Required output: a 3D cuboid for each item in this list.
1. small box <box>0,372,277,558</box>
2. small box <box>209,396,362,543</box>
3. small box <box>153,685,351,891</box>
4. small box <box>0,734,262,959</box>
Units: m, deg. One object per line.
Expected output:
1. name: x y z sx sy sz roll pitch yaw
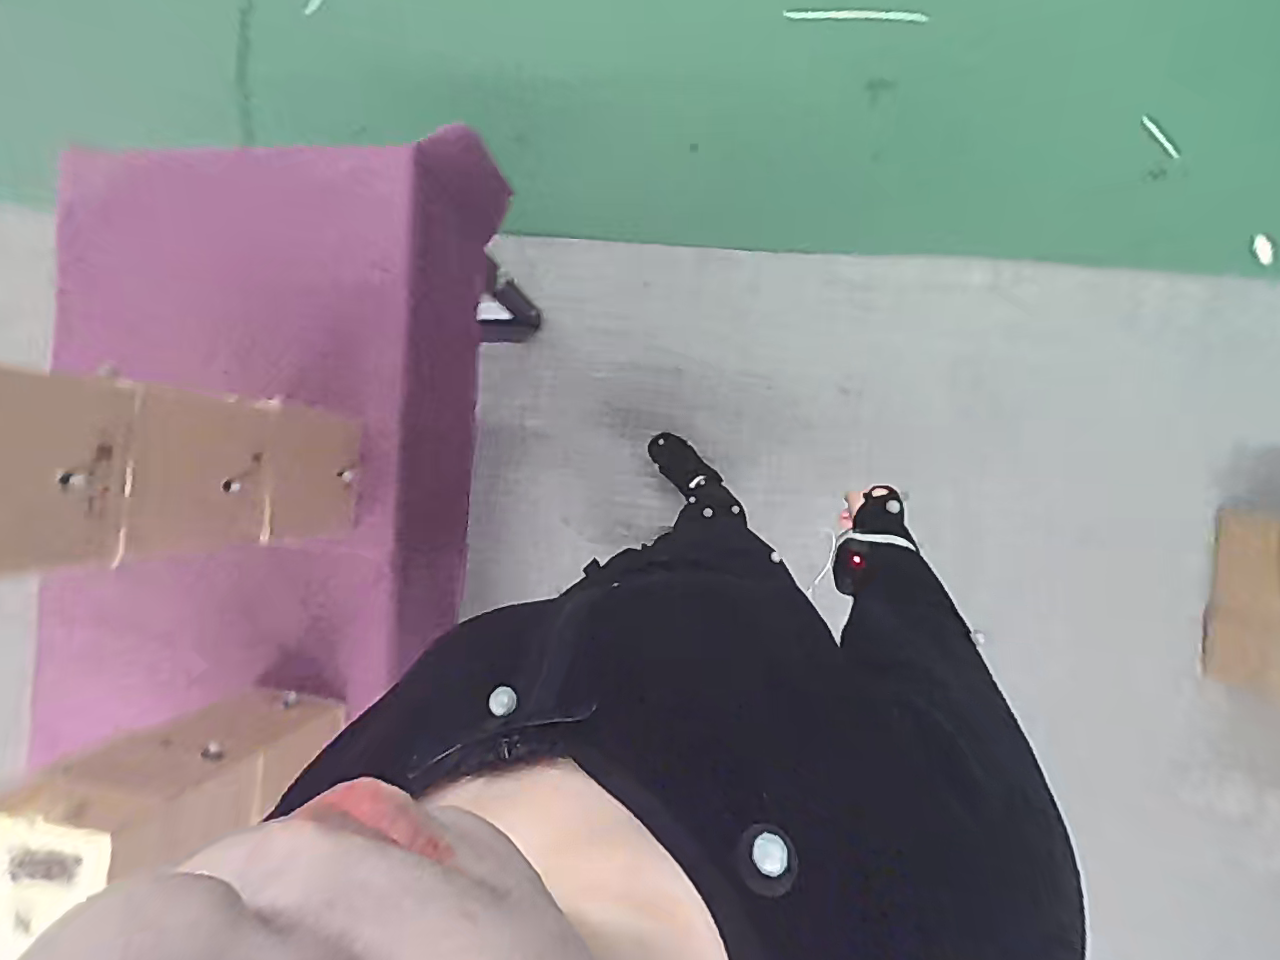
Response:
1. small box: -0.542 -0.014 0.587 0.179 0.176 0.168 5 90 5
2. small box: -0.513 -0.013 0.748 0.168 0.176 0.179 4 89 7
3. small box: -0.528 0.408 0.745 0.168 0.176 0.179 6 89 6
4. small box: -0.548 0.400 0.582 0.168 0.176 0.179 5 90 6
